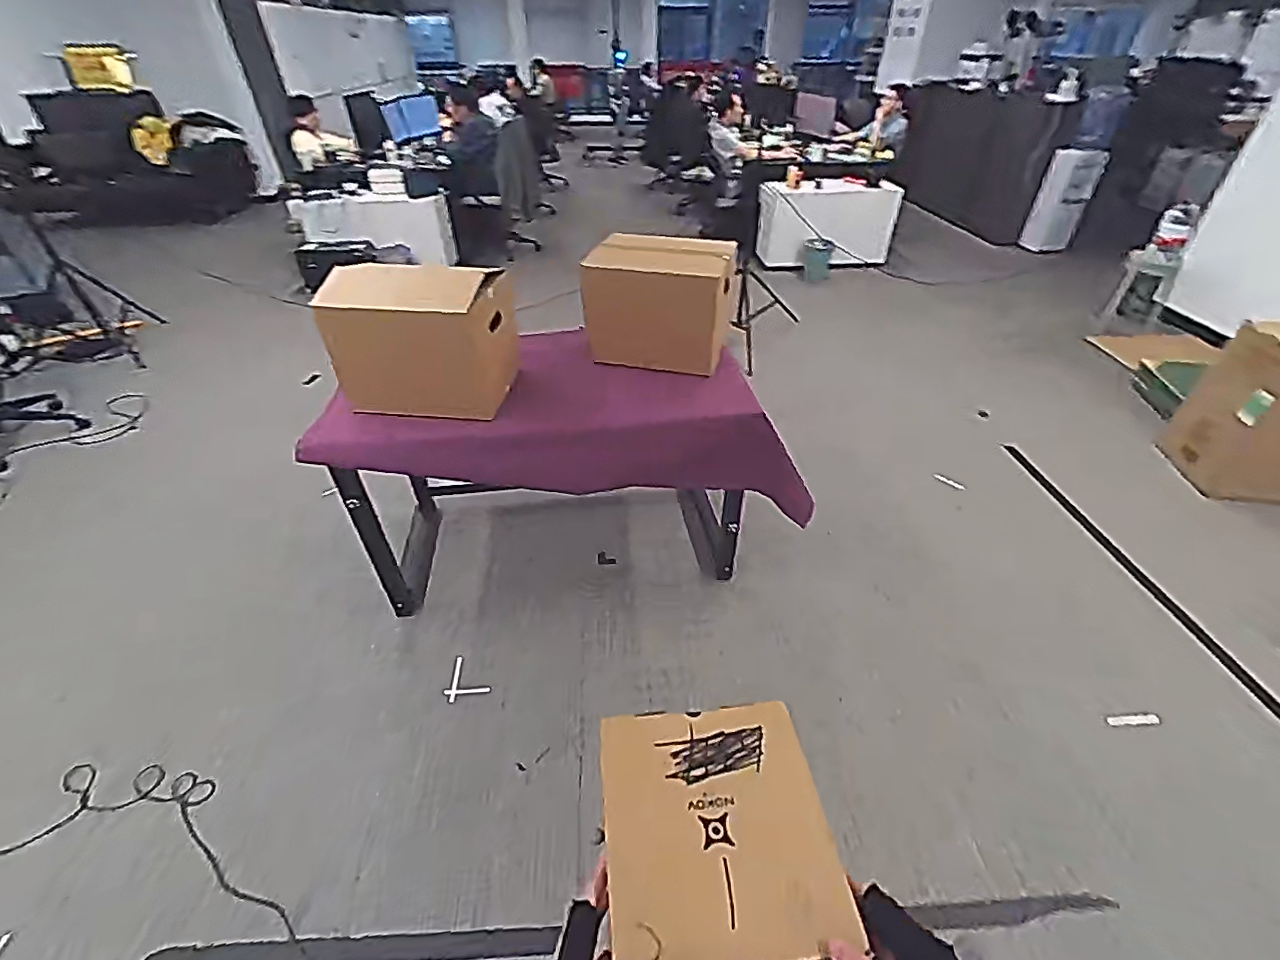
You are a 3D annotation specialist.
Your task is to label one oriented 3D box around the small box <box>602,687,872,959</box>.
[{"bbox_3d":[0.054,0.301,0.446,0.168,0.176,0.179,-4,38,-6],"label":"small box"}]
